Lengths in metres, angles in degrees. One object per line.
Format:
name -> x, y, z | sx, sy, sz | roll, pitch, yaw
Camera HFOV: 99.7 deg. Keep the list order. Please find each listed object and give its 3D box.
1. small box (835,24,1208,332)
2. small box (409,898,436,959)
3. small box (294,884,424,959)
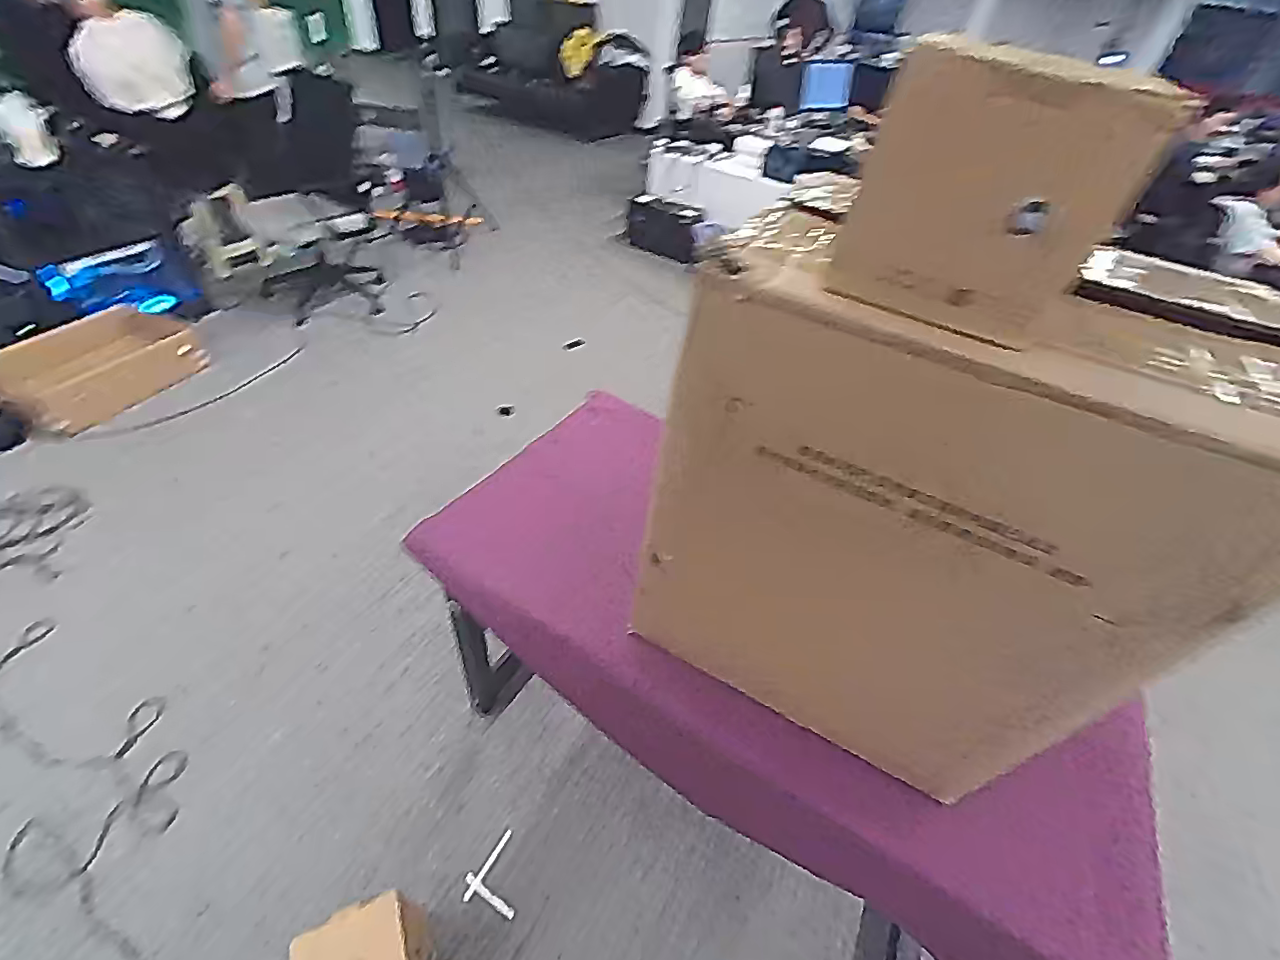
small box -> 0.277, -0.244, 0.437 | 0.168, 0.176, 0.179 | 26, 45, 14
small box -> -0.486, 0.949, 1.029 | 0.168, 0.176, 0.179 | -16, 49, -24
small box -> -0.466, 0.836, 0.913 | 0.168, 0.176, 0.179 | -14, 48, -22
